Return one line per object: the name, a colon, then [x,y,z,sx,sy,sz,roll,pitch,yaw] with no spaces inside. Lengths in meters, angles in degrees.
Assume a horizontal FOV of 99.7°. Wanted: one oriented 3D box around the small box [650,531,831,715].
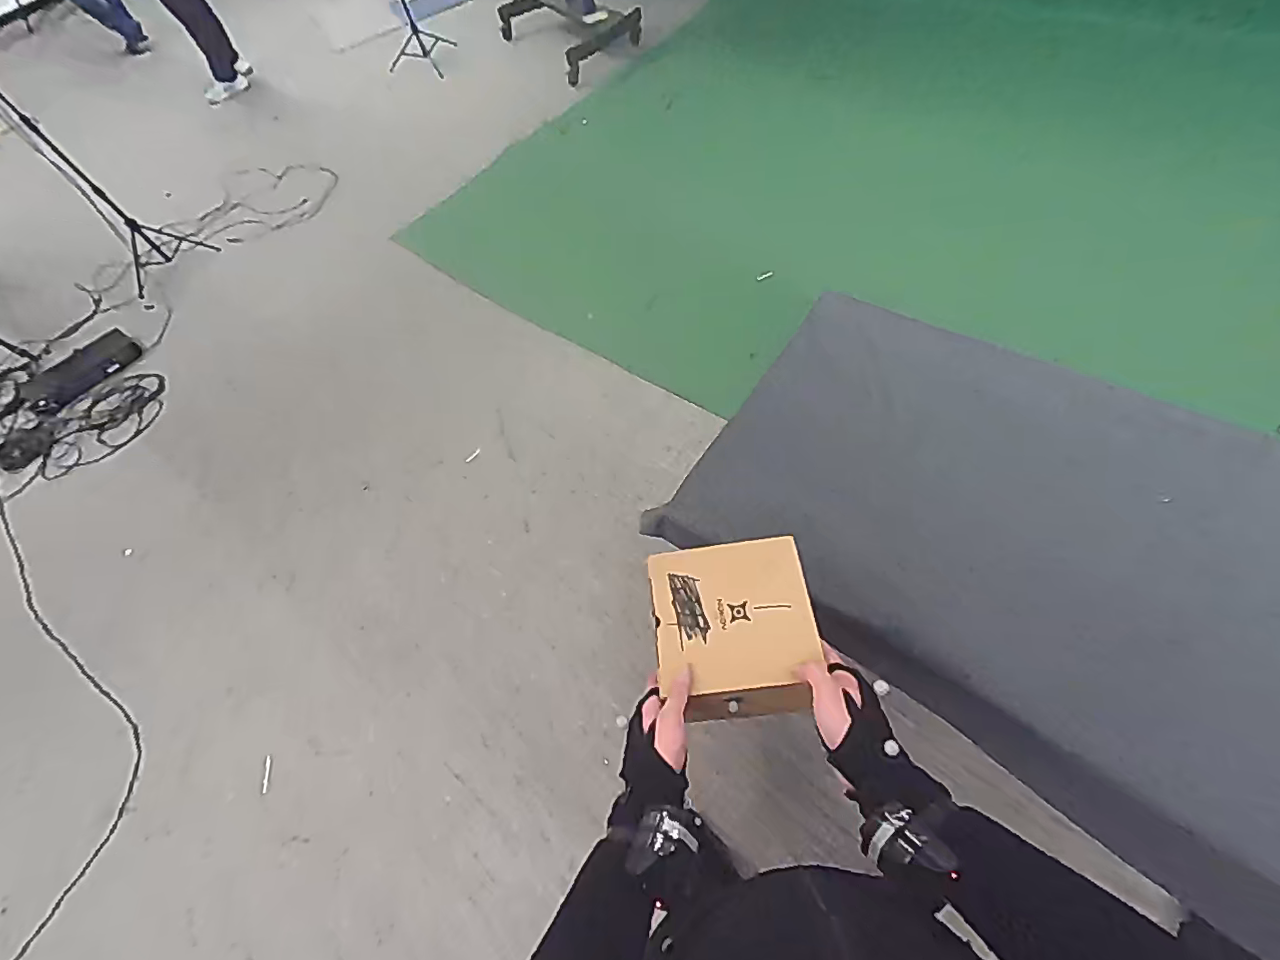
small box: [0.113,0.180,0.655,0.179,0.176,0.168,-7,58,4]
